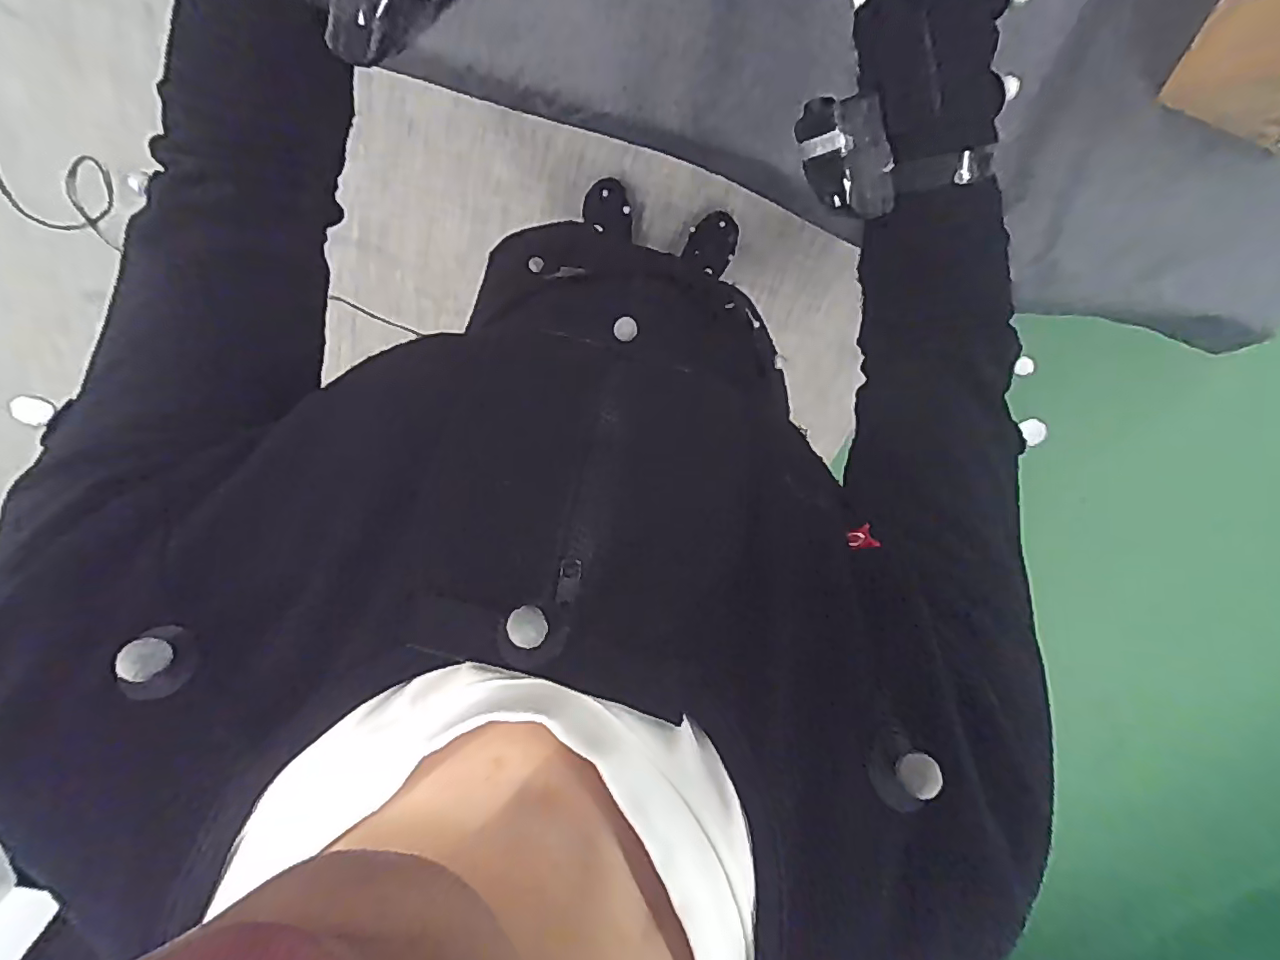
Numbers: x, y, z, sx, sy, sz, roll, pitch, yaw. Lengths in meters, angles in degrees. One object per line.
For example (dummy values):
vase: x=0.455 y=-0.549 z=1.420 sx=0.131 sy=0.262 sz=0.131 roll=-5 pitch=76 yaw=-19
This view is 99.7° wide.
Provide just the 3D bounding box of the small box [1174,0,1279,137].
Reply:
small box: x=0.595 y=-0.388 z=0.424 sx=0.168 sy=0.176 sz=0.179 roll=15 pitch=121 yaw=-8
